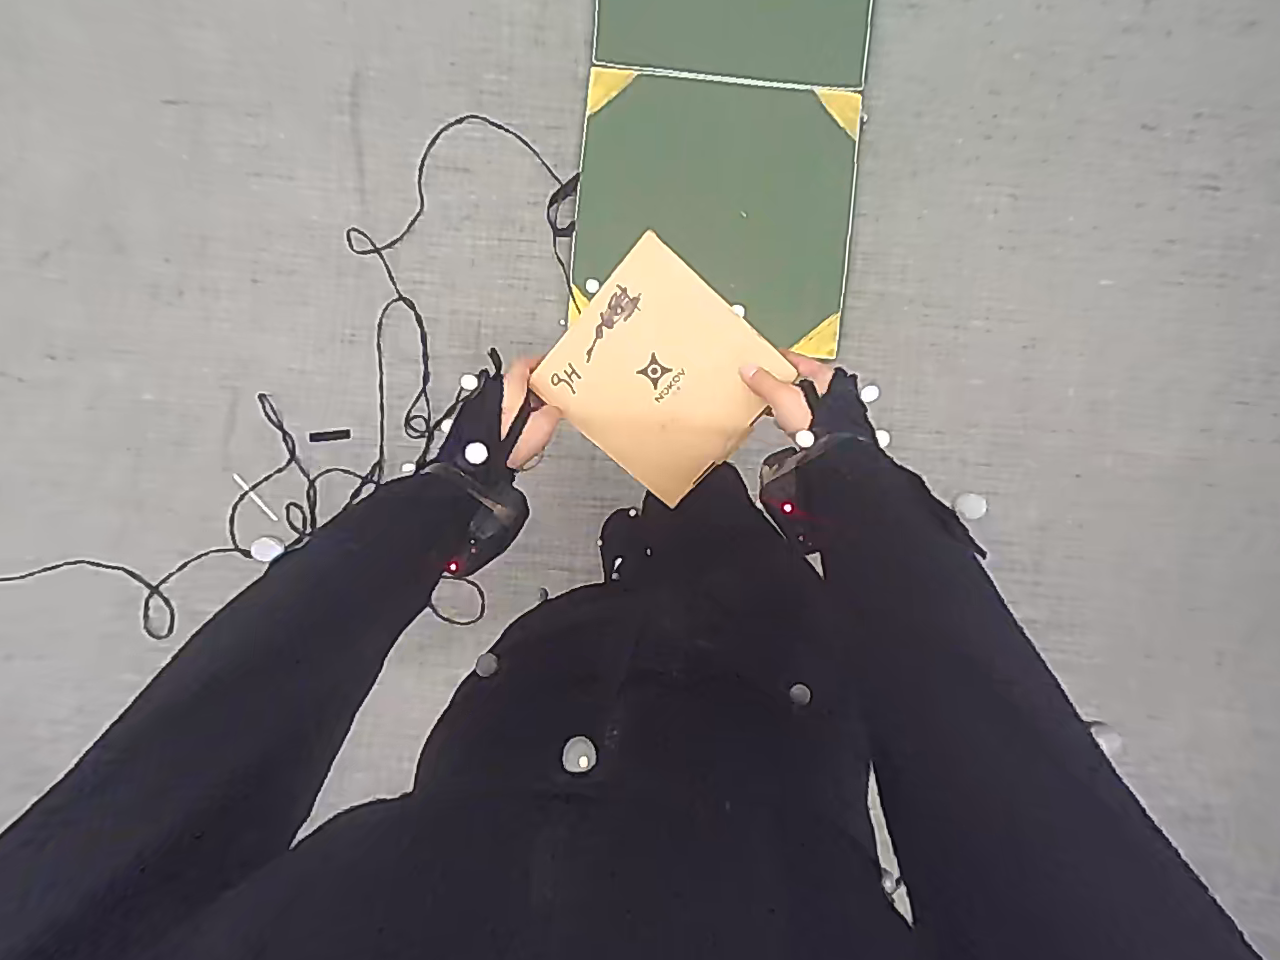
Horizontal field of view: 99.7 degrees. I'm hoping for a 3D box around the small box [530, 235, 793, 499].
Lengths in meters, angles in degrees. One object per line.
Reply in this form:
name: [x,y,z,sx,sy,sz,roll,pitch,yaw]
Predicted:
small box: [0.022,-0.116,0.551,0.179,0.176,0.168,41,104,-9]
